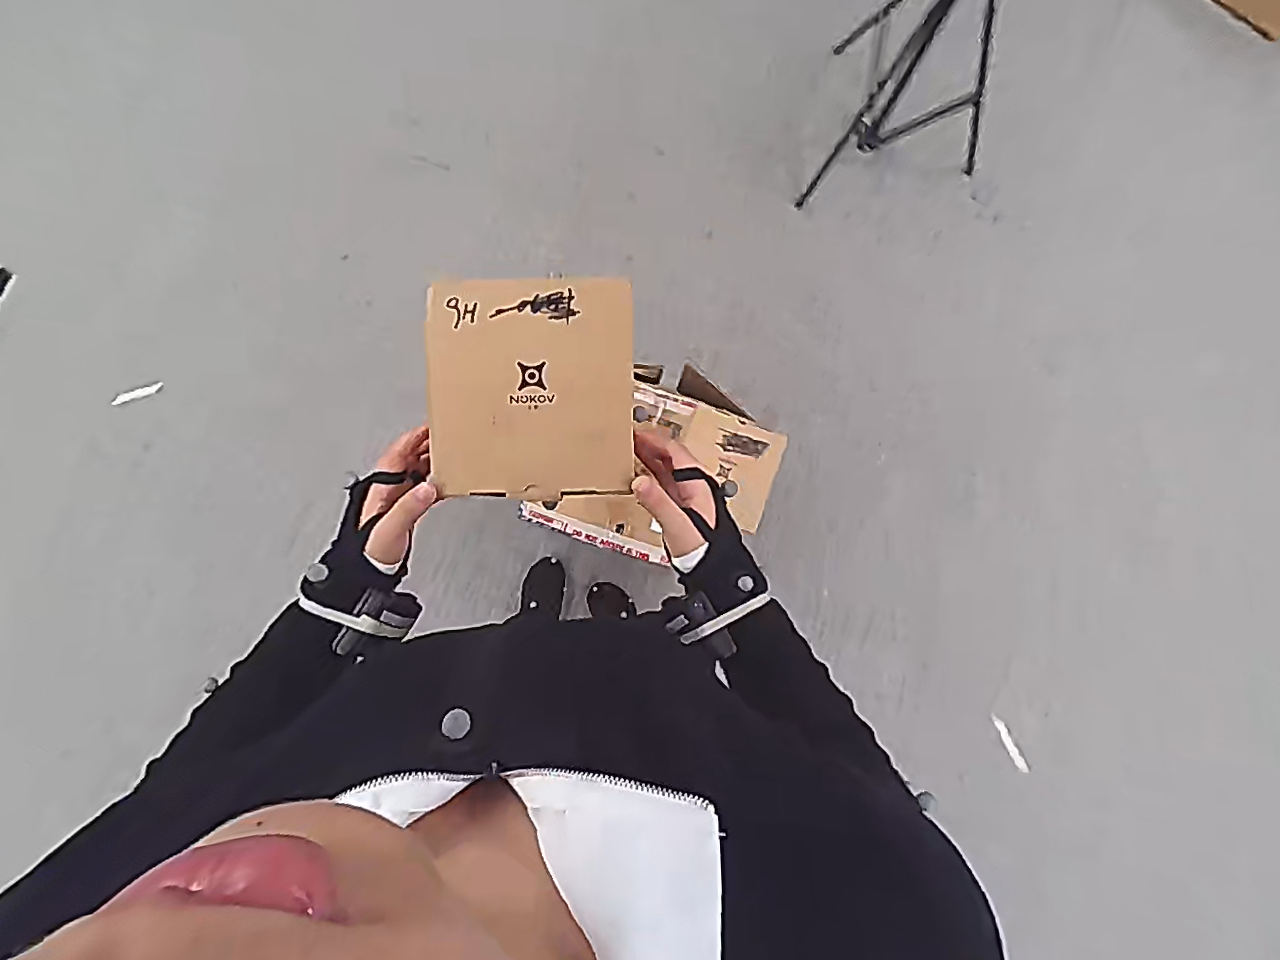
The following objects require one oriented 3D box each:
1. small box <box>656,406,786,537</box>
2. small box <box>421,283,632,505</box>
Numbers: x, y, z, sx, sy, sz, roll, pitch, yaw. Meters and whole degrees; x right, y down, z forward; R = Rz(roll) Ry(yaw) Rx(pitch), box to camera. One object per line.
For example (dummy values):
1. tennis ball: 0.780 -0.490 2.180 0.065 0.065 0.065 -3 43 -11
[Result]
1. small box: 0.135 -0.007 0.975 0.168 0.176 0.179 21 83 -1
2. small box: -0.092 -0.072 0.515 0.168 0.176 0.179 -2 91 -1
